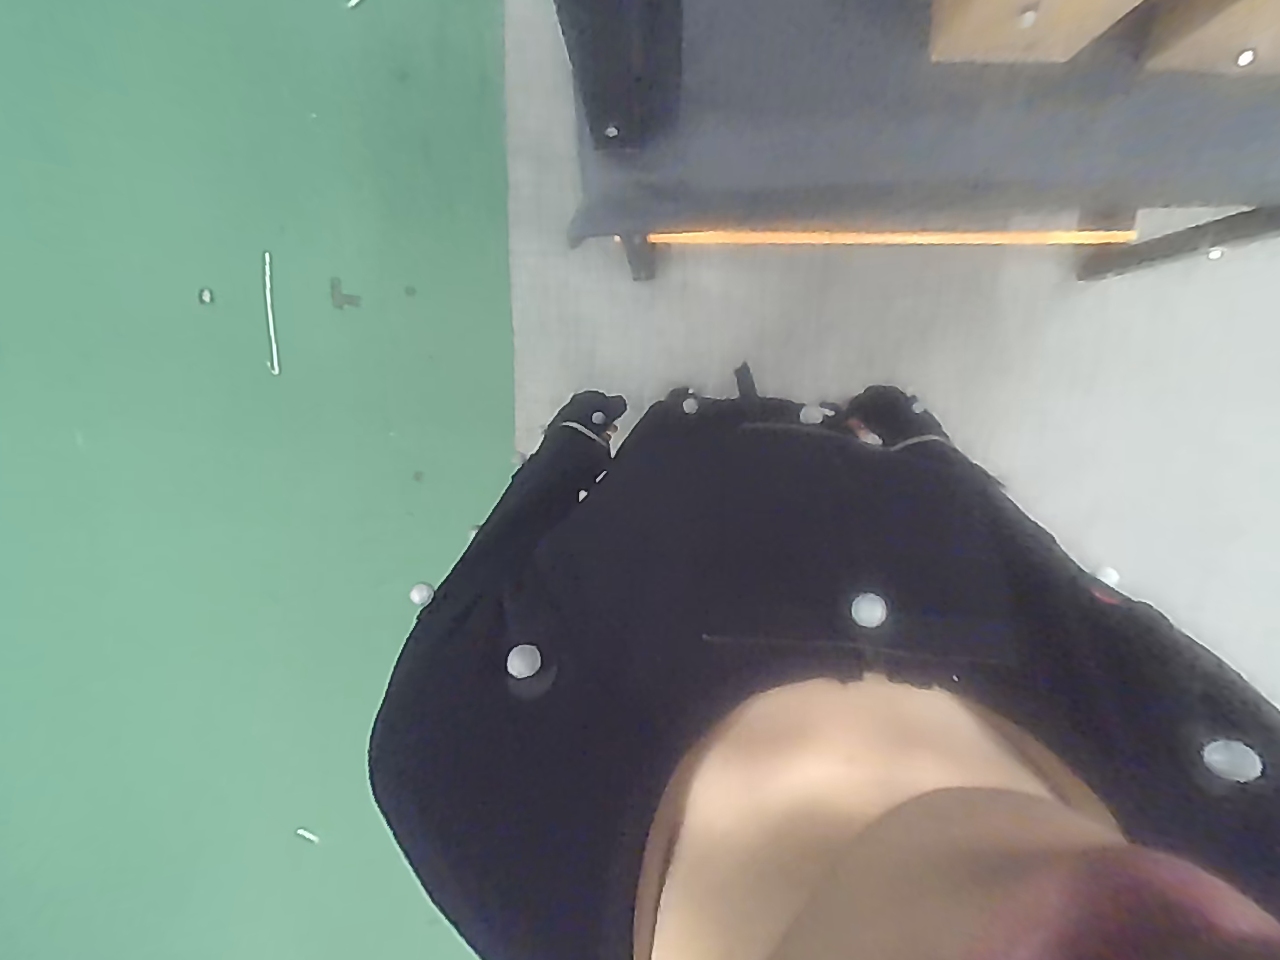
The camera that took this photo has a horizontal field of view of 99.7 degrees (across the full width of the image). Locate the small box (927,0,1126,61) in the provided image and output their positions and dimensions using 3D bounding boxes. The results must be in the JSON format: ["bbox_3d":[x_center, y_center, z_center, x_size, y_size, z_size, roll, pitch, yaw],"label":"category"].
[{"bbox_3d":[0.418,-0.565,0.550,0.168,0.176,0.179,1,99,2],"label":"small box"}]
